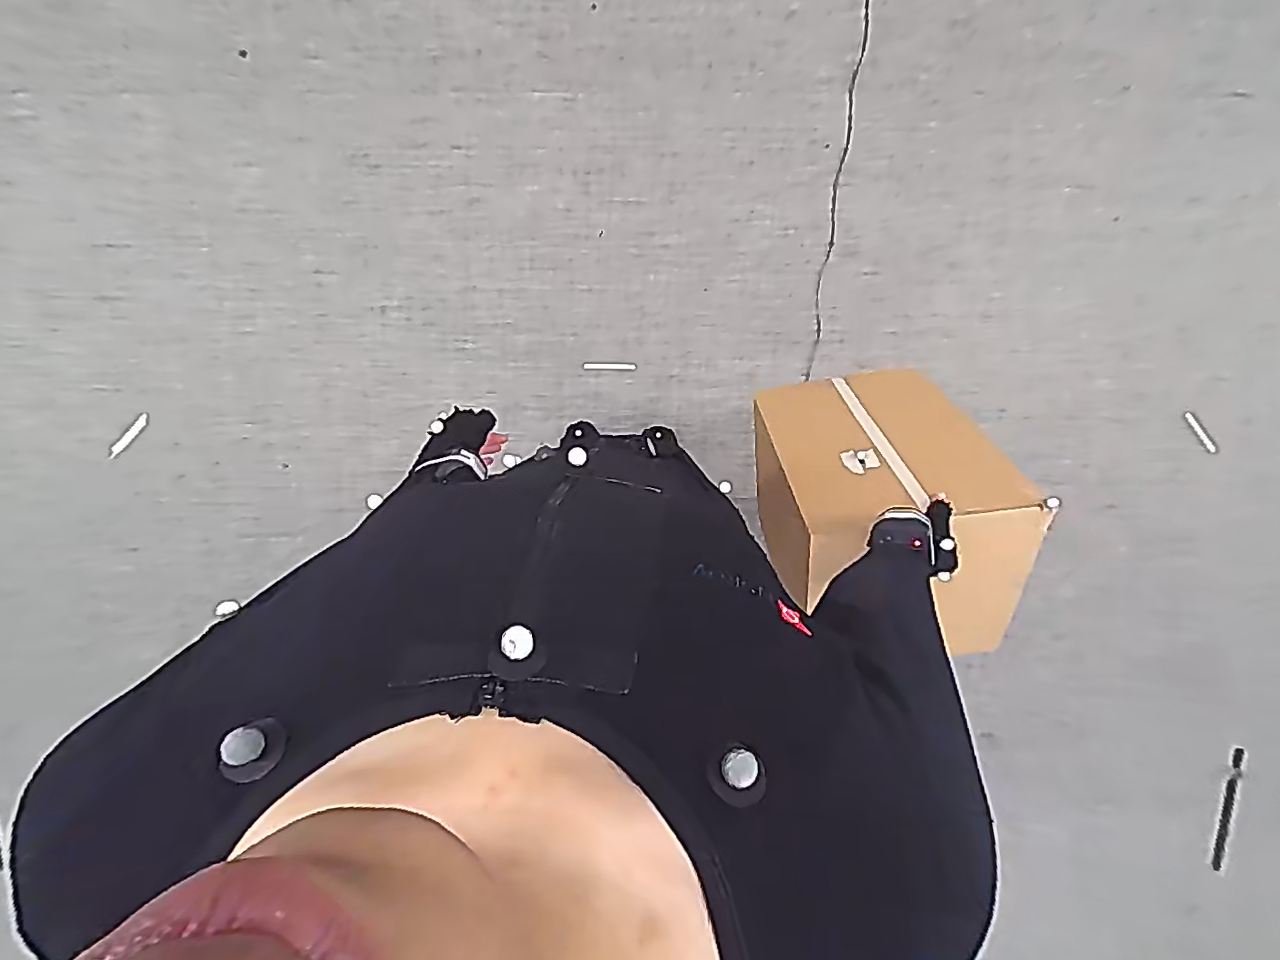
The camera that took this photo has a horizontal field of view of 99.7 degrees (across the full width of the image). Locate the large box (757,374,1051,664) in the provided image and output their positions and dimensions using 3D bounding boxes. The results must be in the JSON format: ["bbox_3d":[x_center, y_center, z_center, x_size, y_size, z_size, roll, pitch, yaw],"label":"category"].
[{"bbox_3d":[0.403,0.056,0.963,0.320,0.408,0.320,-8,128,4],"label":"large box"}]
